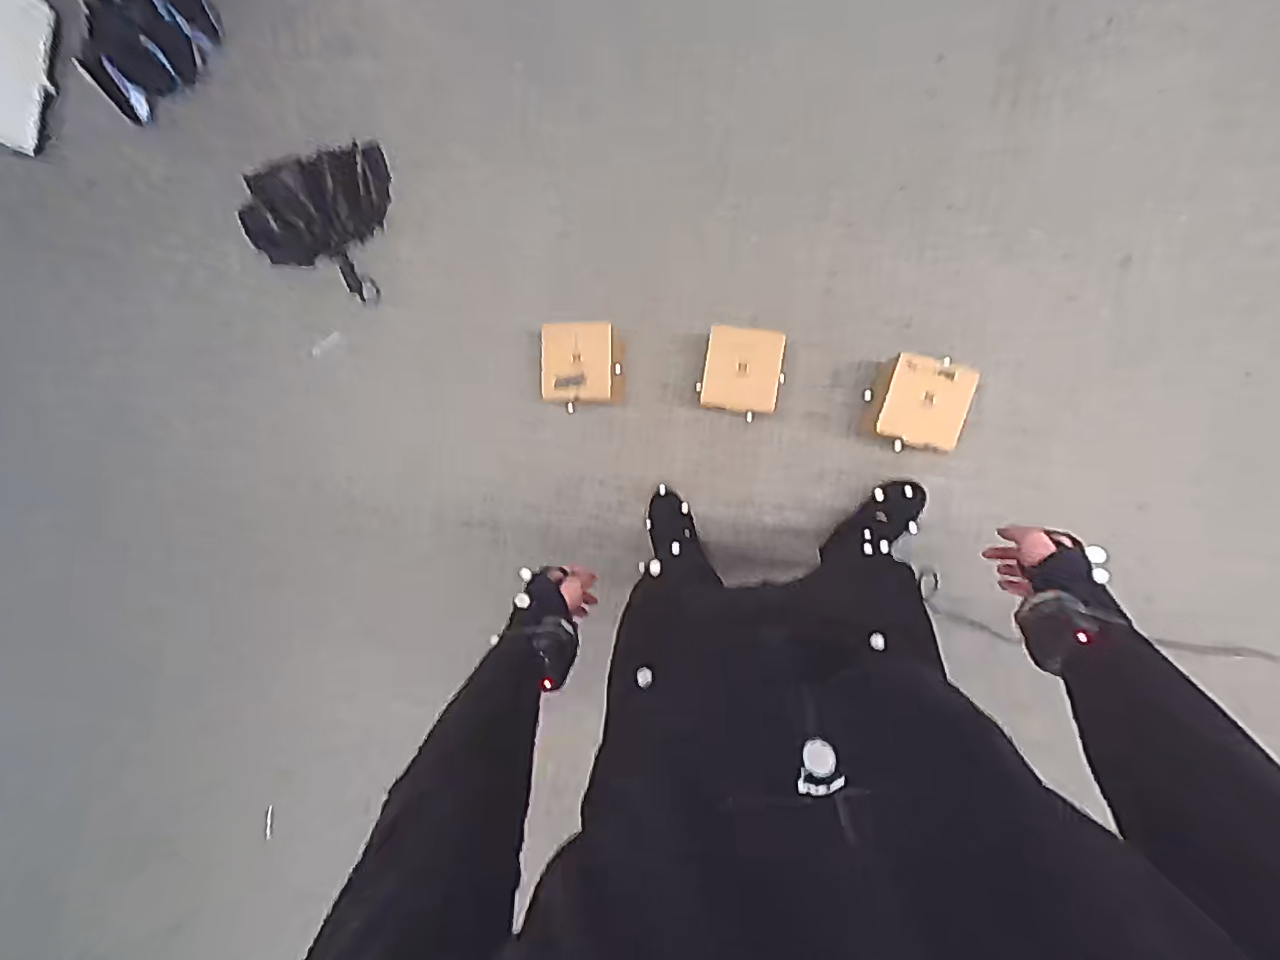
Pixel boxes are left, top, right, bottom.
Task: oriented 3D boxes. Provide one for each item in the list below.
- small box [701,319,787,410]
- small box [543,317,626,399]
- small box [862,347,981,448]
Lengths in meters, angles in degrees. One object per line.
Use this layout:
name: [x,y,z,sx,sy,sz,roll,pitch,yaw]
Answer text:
small box: [0.238,-0.261,1.261,0.168,0.176,0.179,8,94,6]
small box: [-0.129,-0.289,1.310,0.168,0.176,0.179,1,93,8]
small box: [0.616,-0.180,1.210,0.168,0.176,0.179,18,97,8]
